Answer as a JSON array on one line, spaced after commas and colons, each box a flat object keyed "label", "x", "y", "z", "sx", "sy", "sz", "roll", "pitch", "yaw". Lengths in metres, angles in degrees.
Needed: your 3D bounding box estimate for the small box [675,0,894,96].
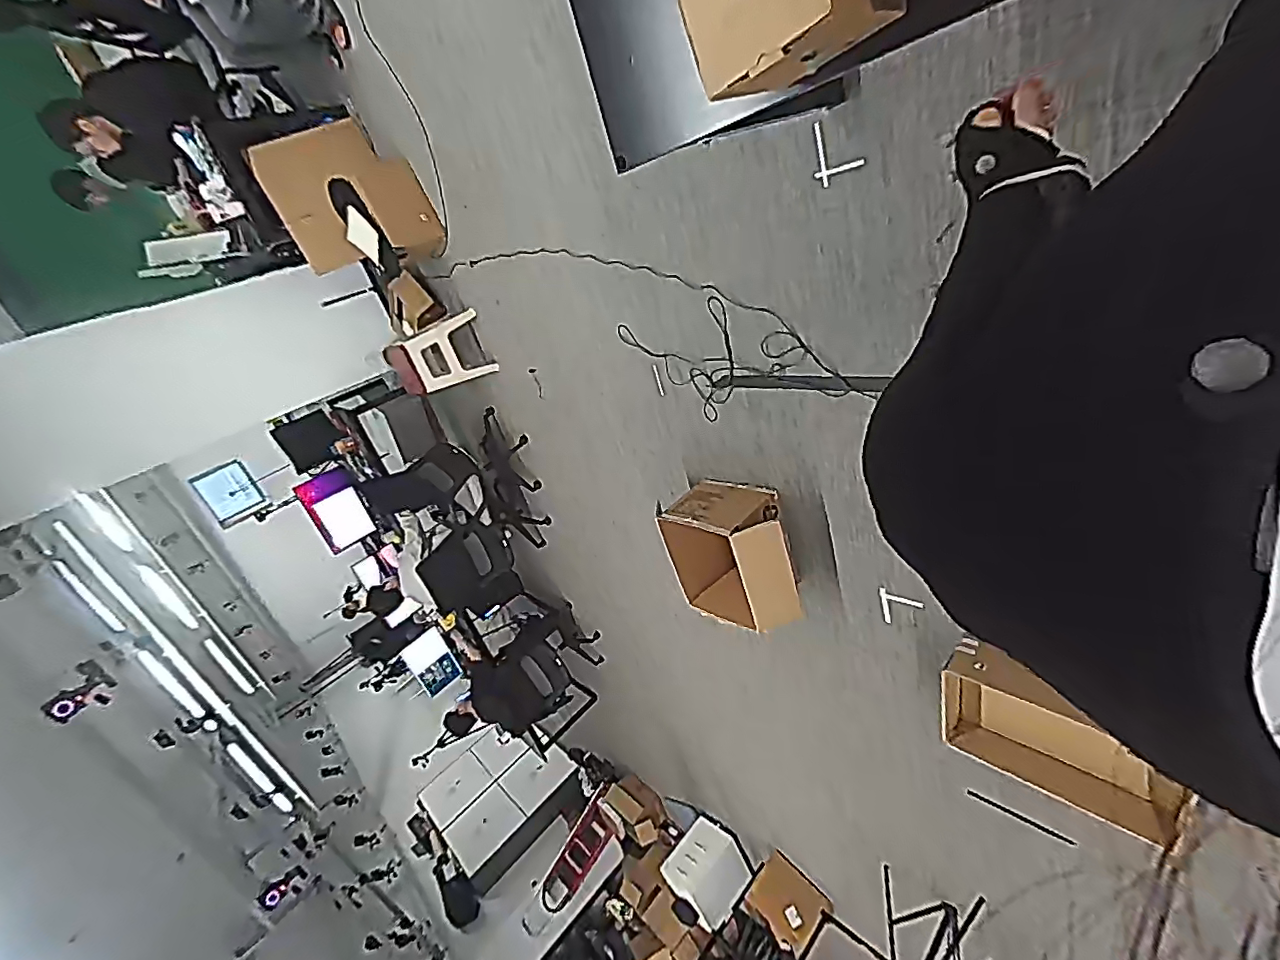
[{"label": "small box", "x": 0.150, "y": -0.559, "z": 0.582, "sx": 0.168, "sy": 0.176, "sz": 0.179, "roll": 4, "pitch": 123, "yaw": 51}]
